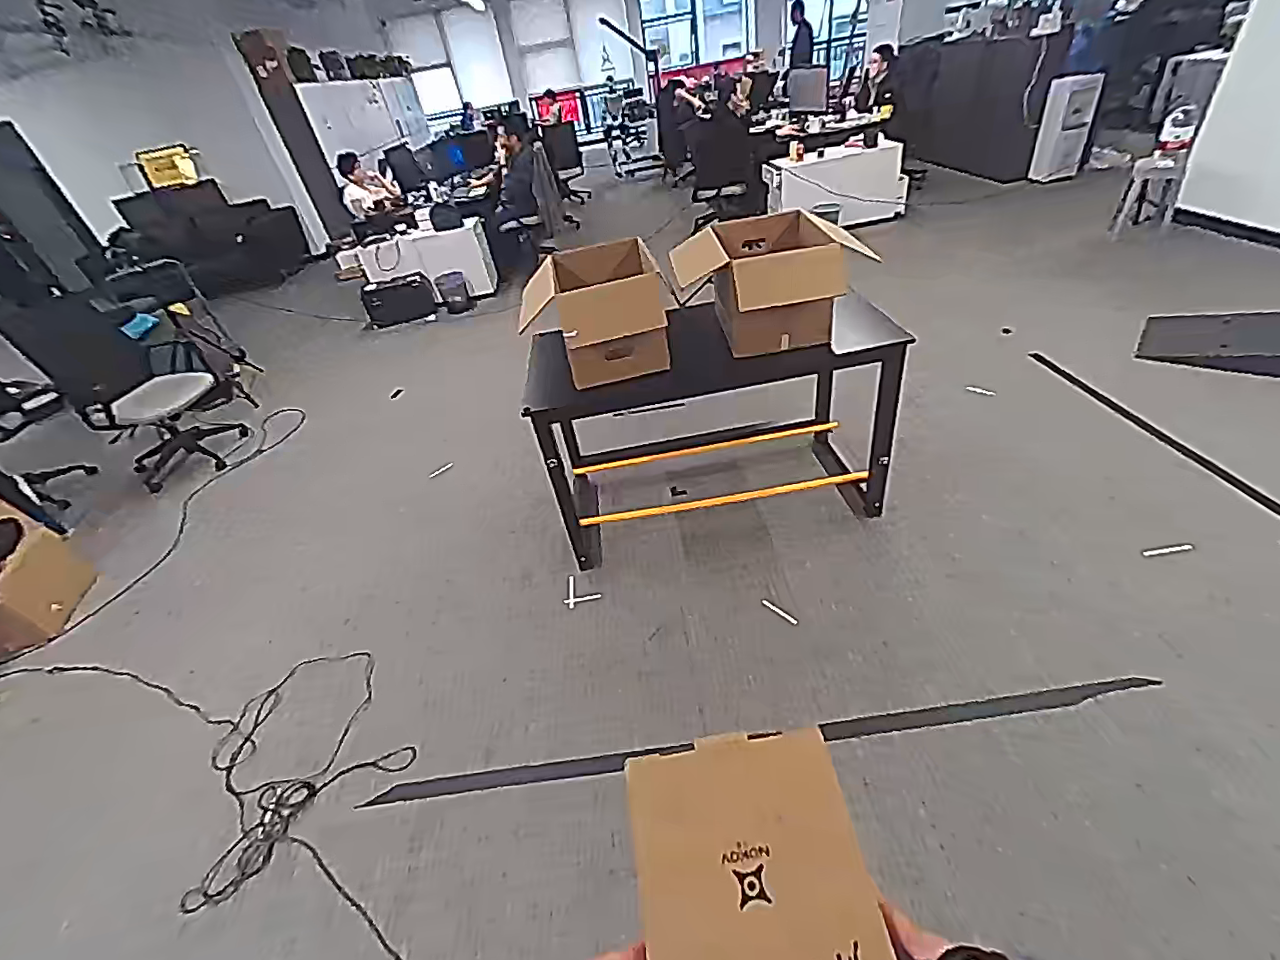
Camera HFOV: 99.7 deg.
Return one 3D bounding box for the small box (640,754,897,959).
[{"bbox_3d":[0.096,0.355,0.457,0.168,0.176,0.179,-10,52,0],"label":"small box"}]
